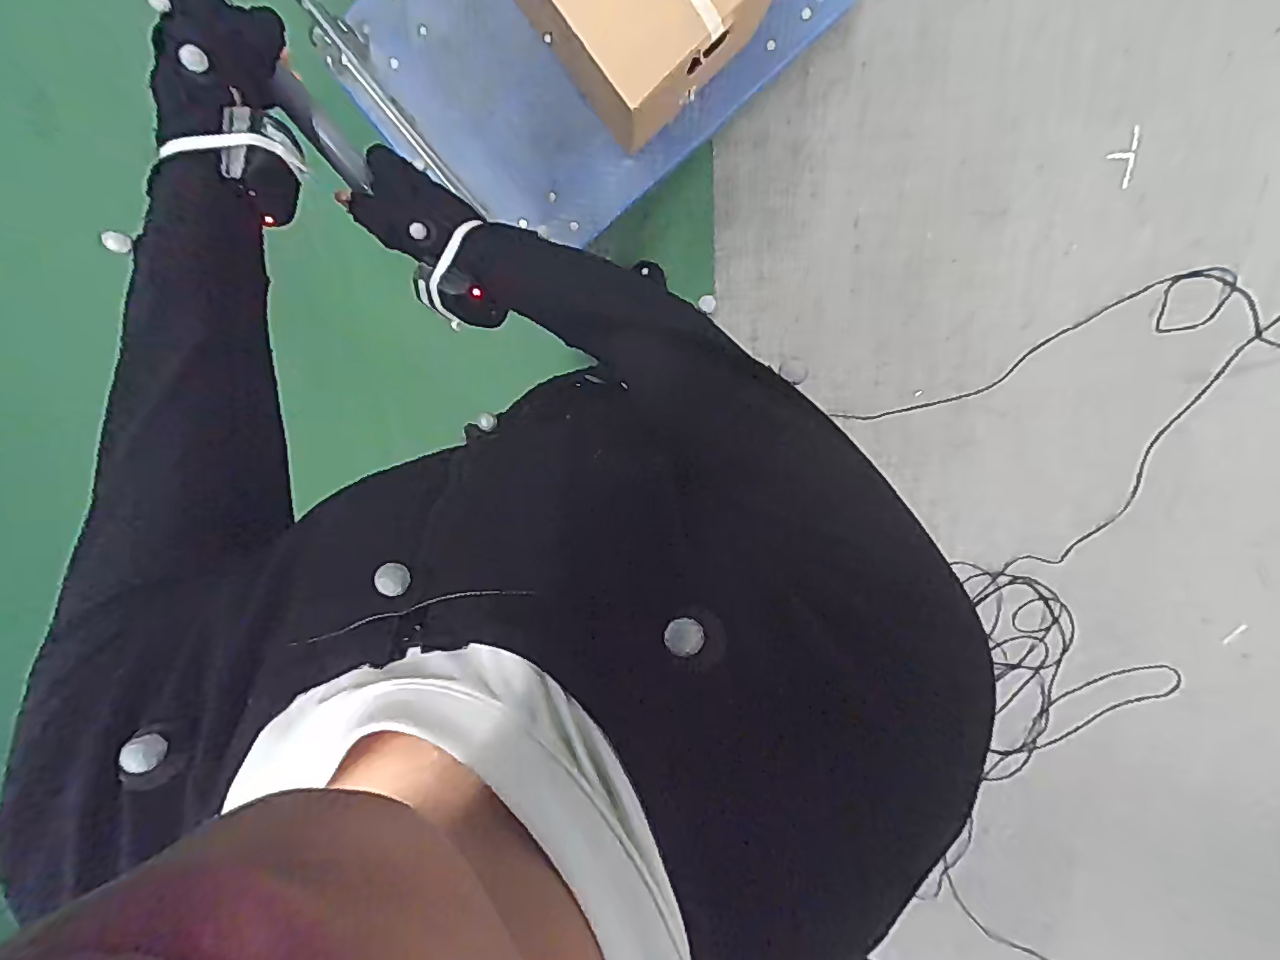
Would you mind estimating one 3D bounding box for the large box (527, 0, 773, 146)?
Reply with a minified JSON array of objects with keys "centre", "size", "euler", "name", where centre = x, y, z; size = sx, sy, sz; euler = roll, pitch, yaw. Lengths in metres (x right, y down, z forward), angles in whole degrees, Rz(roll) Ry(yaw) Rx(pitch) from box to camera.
[{"centre":[-0.016,-0.842,0.861],"size":[0.320,0.320,0.408],"euler":[-38,107,12],"name":"large box"}]
